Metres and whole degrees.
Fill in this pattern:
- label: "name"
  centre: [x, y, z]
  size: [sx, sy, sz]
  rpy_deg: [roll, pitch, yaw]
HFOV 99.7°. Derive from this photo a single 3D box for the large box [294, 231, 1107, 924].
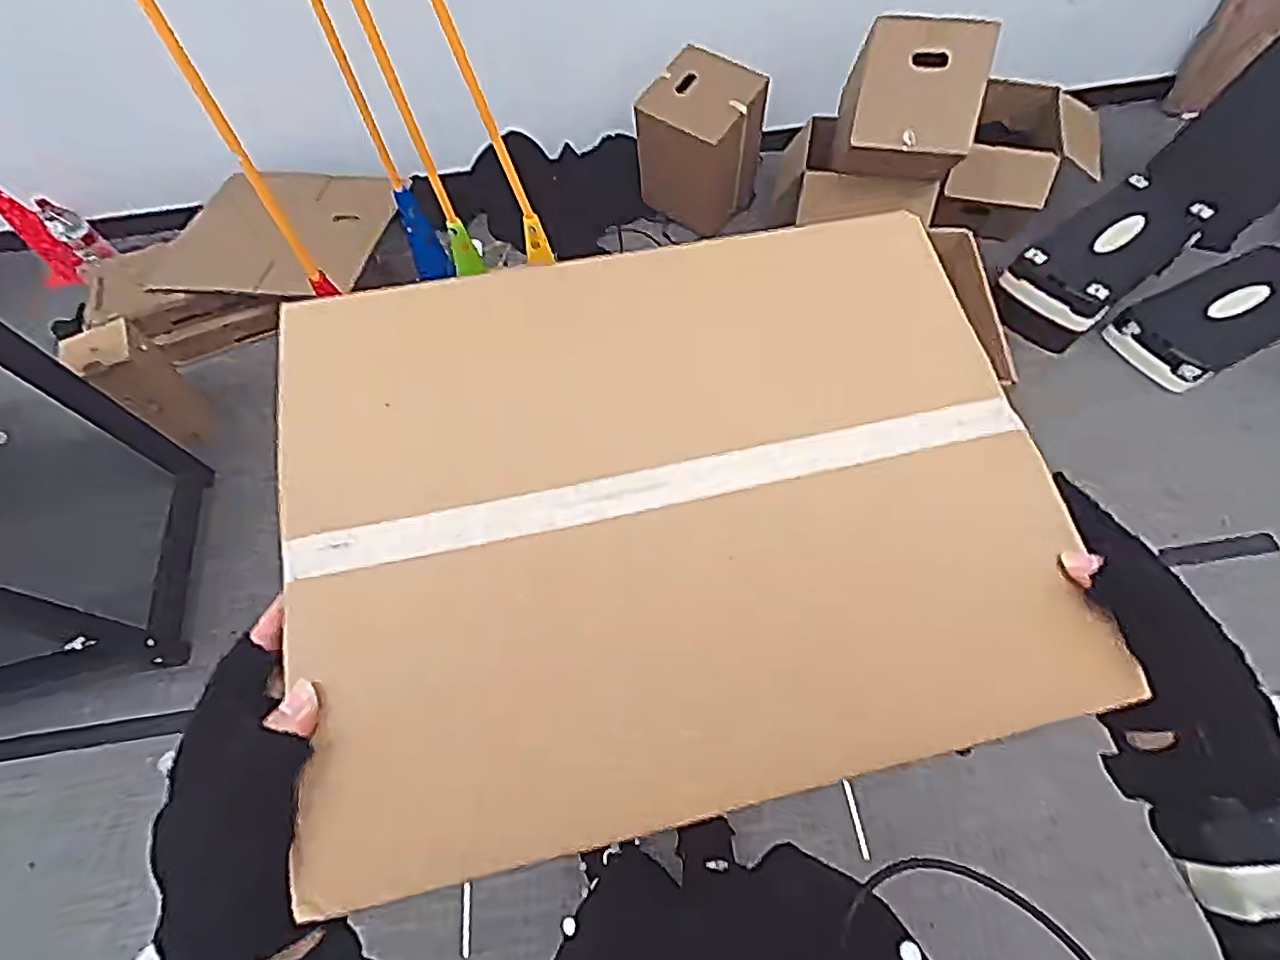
- label: "large box"
  centre: [0.014, 0.058, 0.443]
  size: [0.408, 0.320, 0.320]
  rpy_deg: [-12, 72, -6]
